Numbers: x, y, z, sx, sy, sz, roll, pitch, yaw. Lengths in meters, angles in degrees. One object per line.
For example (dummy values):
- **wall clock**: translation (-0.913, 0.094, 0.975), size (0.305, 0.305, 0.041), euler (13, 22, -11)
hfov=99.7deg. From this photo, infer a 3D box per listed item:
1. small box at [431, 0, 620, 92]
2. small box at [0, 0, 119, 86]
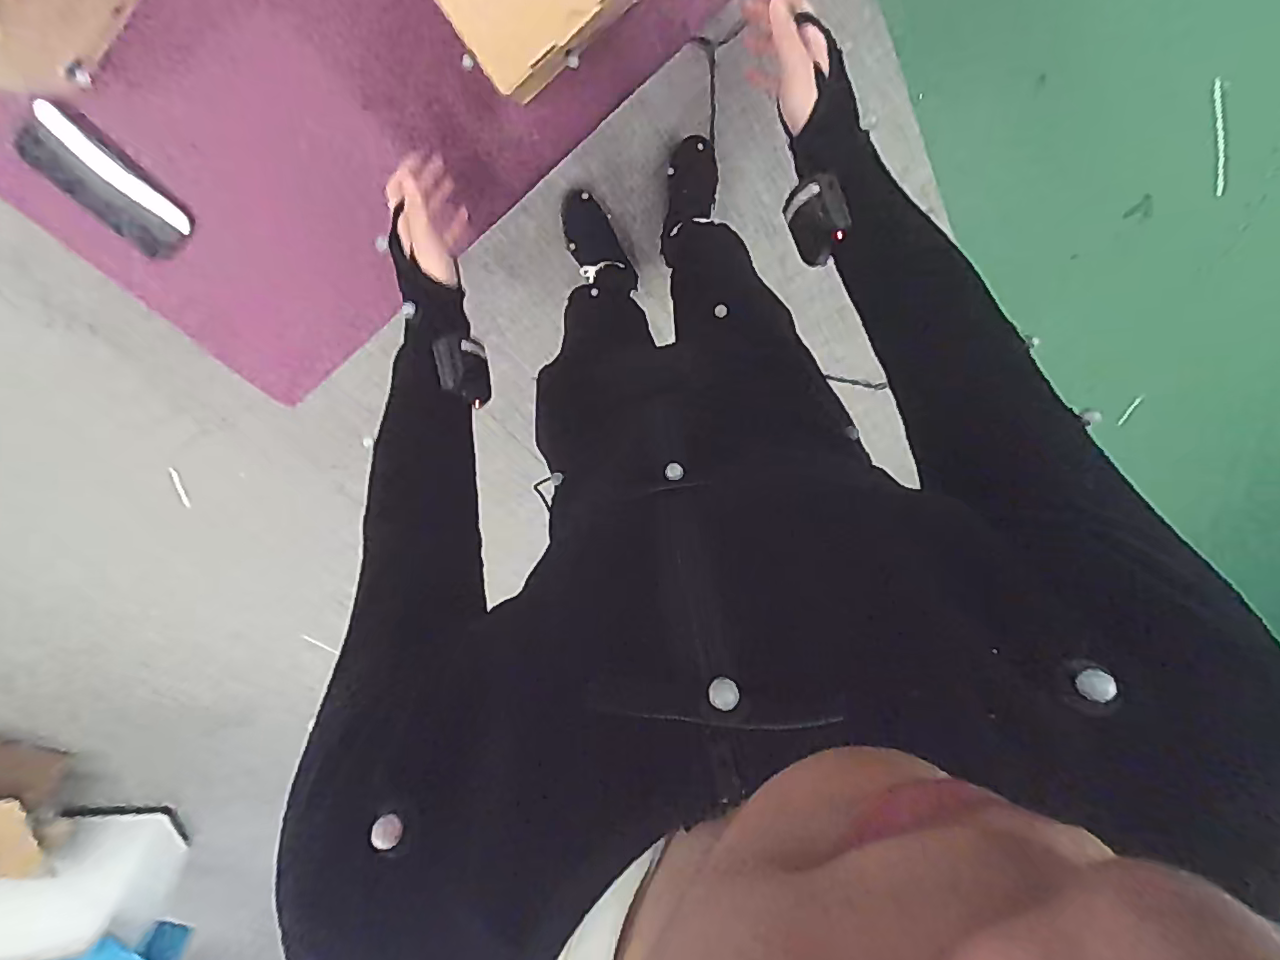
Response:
- **small box**: translation (-0.115, -0.471, 0.463), size (0.168, 0.176, 0.179), euler (-34, 121, 15)
- **small box**: translation (-0.562, -0.444, 0.419), size (0.168, 0.176, 0.179), euler (-36, 121, 16)
